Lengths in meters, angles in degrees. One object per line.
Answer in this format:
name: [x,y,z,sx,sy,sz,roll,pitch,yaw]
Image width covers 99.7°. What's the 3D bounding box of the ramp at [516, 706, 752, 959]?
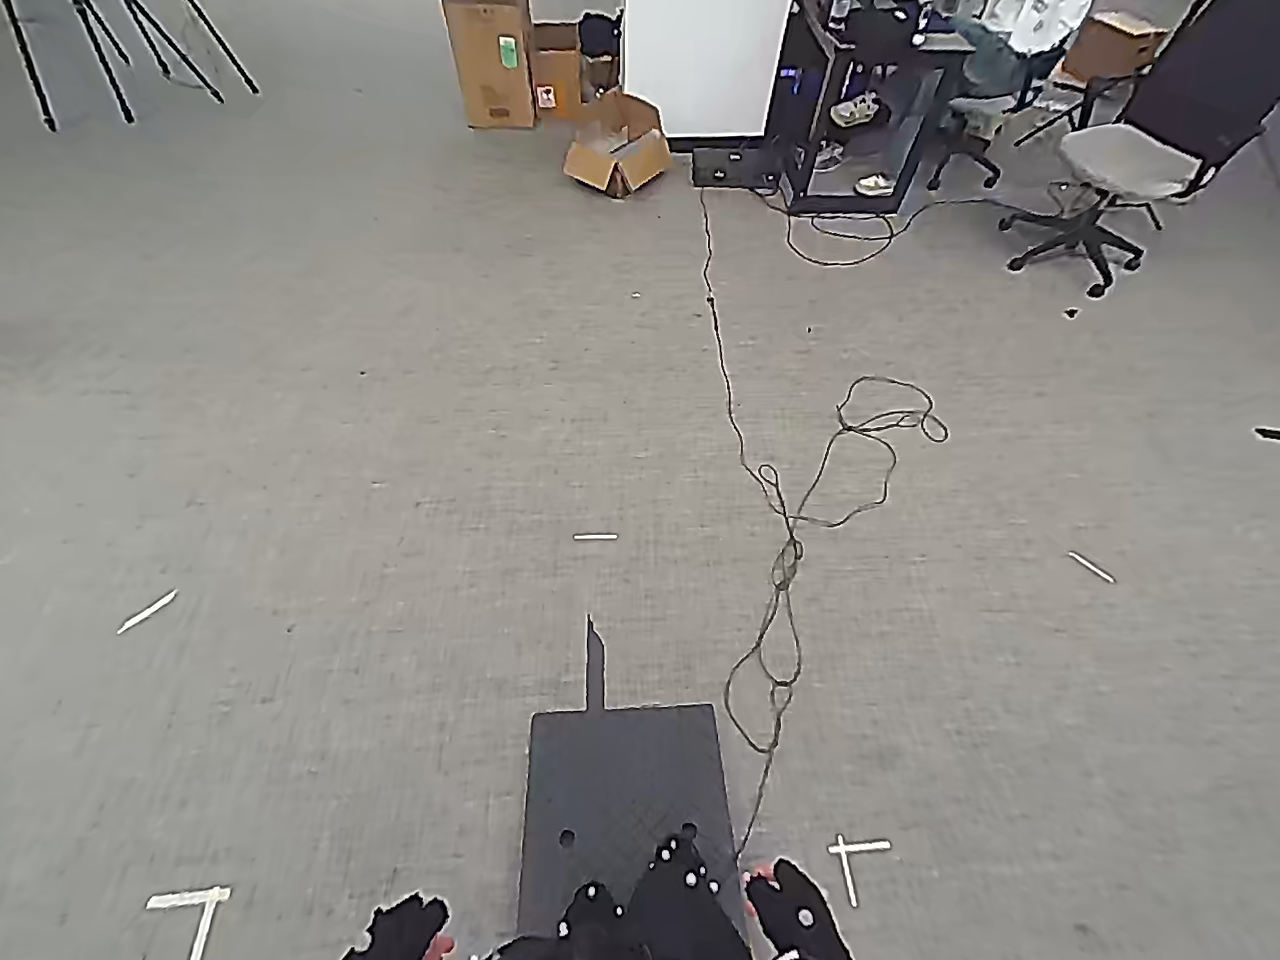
ramp: [-0.014,0.986,1.121,0.509,0.206,0.991,-4,56,-3]
